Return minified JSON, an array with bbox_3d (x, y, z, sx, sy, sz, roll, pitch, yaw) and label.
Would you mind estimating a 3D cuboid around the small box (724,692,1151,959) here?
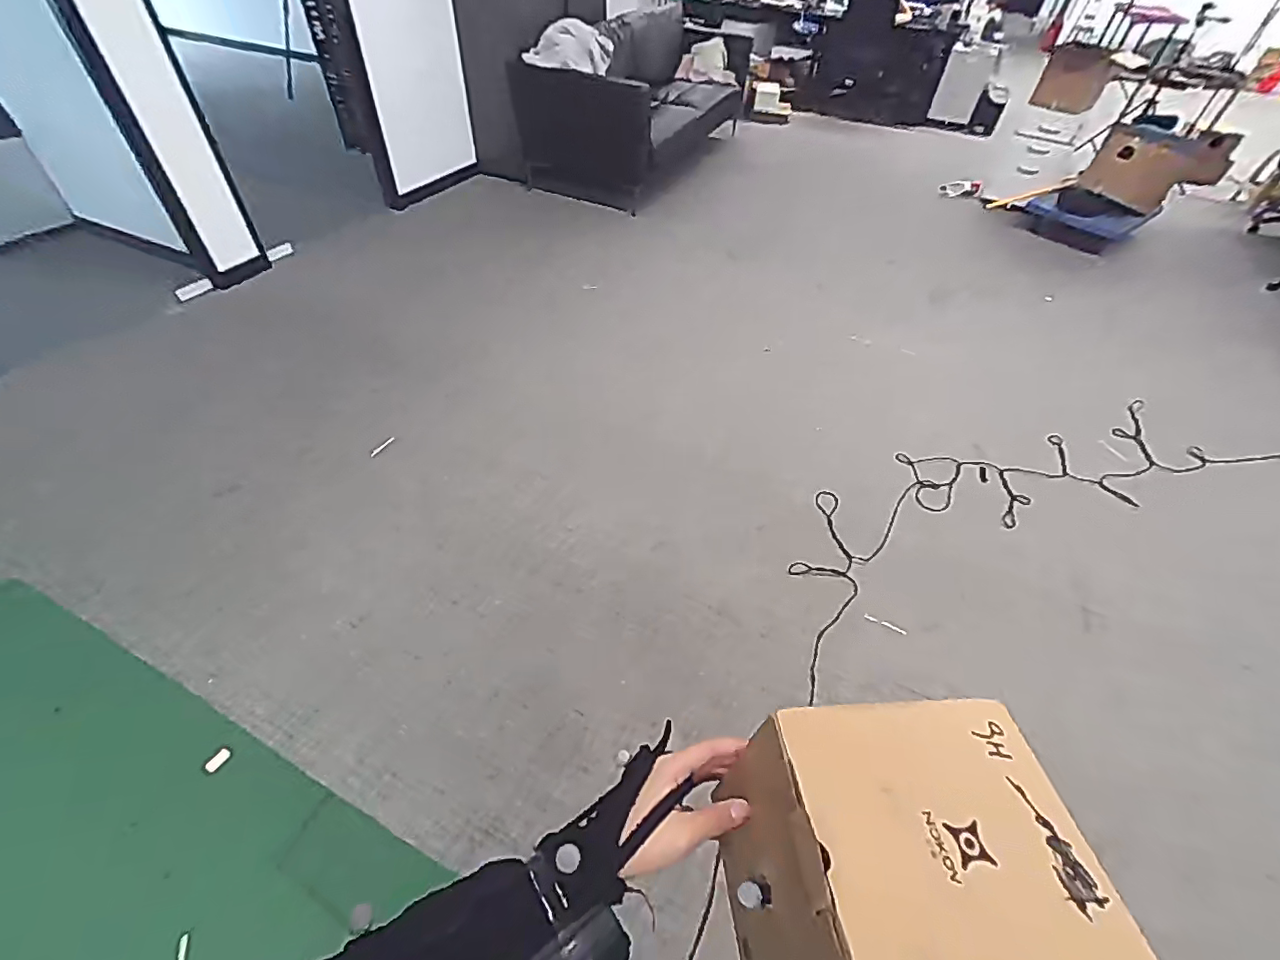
[{"bbox_3d":[0.166,0.265,0.372,0.179,0.176,0.168,2,43,-11],"label":"small box"}]
